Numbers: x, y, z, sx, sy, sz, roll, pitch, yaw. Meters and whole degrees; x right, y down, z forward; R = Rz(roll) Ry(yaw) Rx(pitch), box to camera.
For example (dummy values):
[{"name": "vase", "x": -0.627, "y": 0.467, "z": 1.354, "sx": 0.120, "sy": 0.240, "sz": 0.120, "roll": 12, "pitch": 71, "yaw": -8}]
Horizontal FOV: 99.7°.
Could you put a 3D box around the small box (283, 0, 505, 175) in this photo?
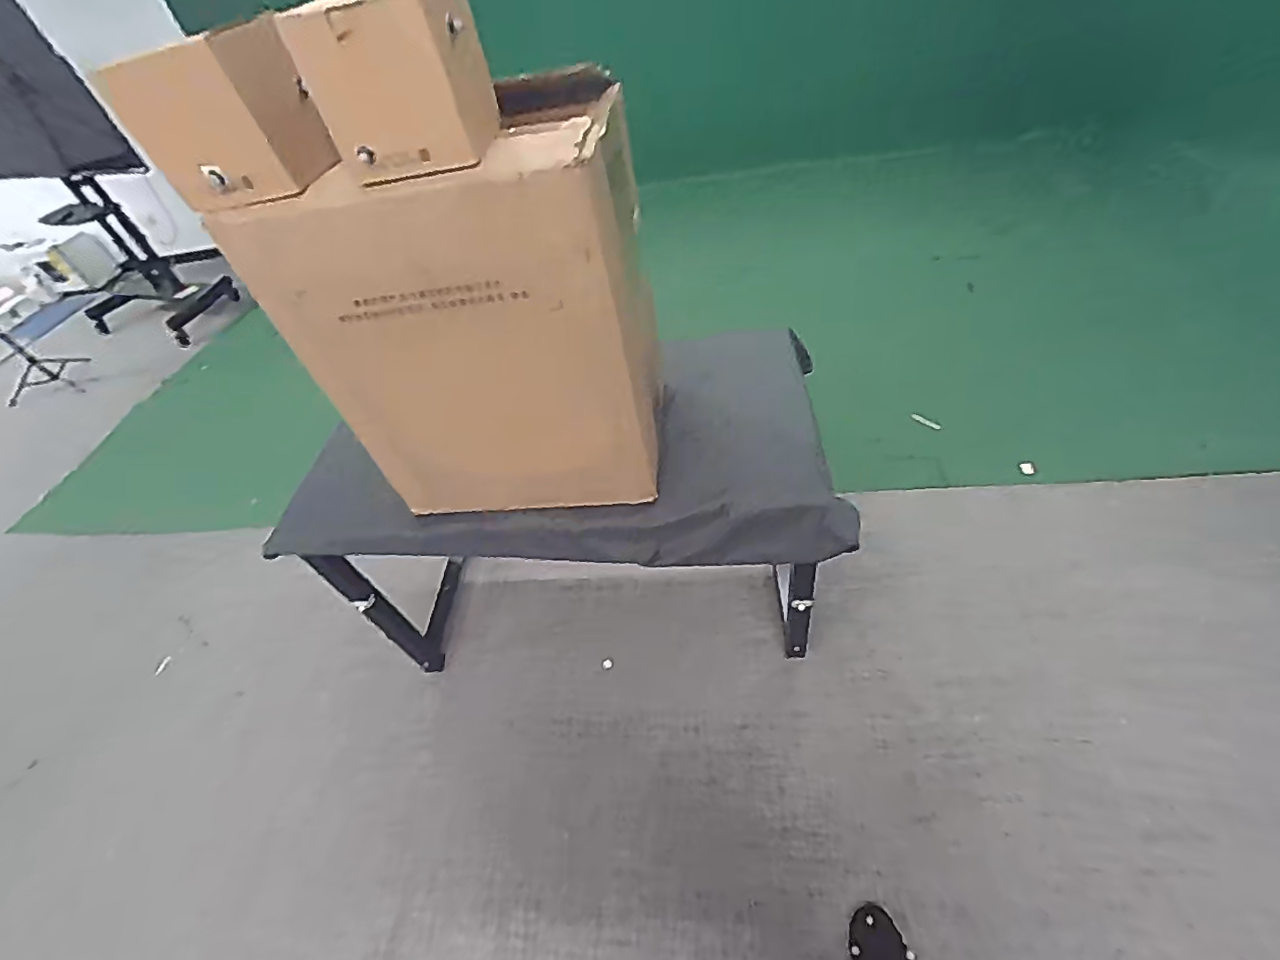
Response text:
[{"name": "small box", "x": -0.285, "y": -0.501, "z": 0.676, "sx": 0.168, "sy": 0.176, "sz": 0.179, "roll": -5, "pitch": 47, "yaw": 8}]

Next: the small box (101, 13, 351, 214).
[{"name": "small box", "x": -0.527, "y": -0.486, "z": 0.725, "sx": 0.168, "sy": 0.176, "sz": 0.179, "roll": -7, "pitch": 49, "yaw": 10}]
